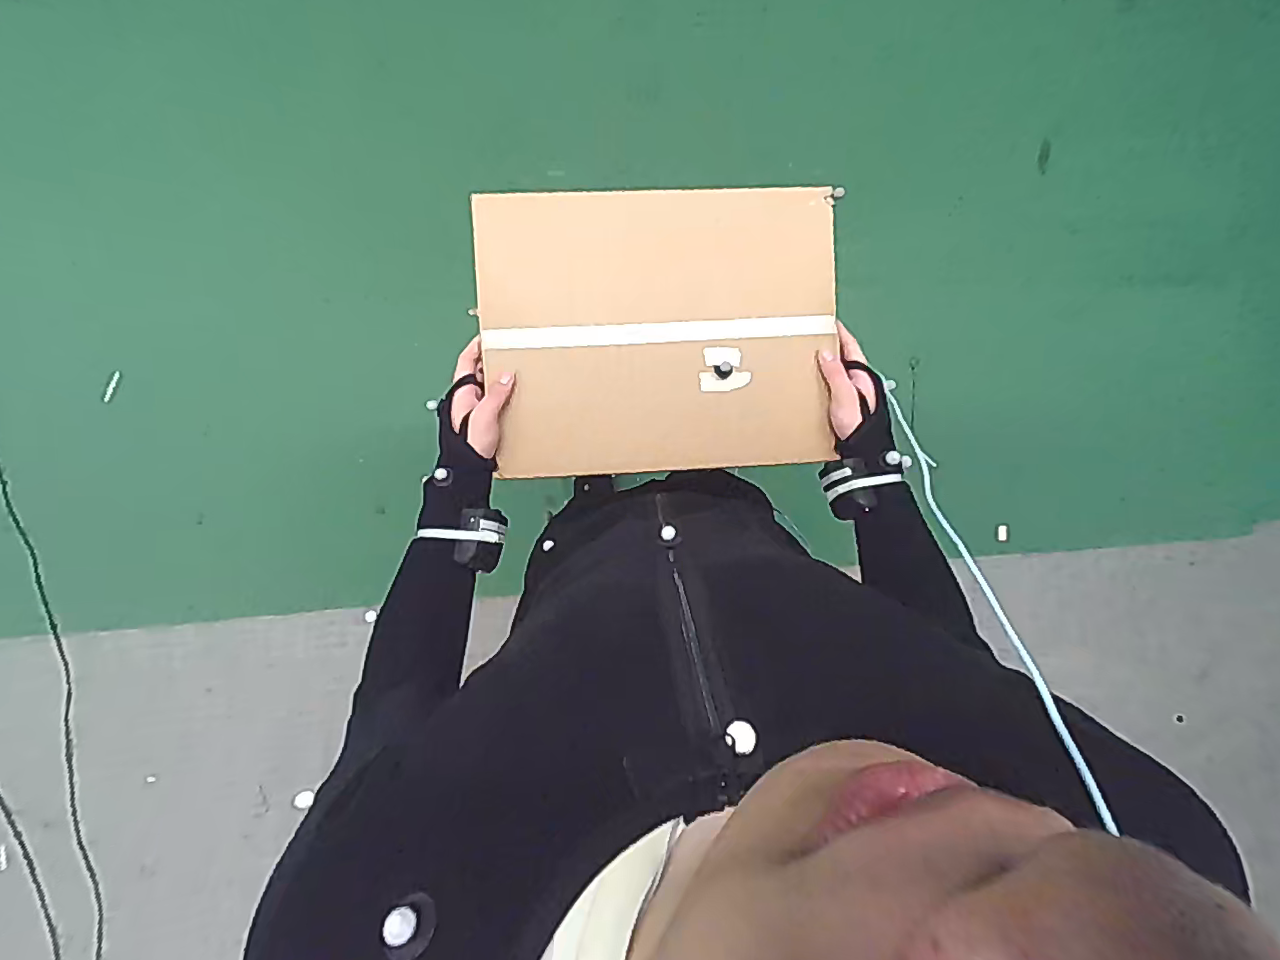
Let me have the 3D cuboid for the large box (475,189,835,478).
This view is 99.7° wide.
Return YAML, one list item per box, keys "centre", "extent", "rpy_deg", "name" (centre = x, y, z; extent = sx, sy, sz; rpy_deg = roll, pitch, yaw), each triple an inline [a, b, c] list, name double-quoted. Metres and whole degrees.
- centre: [0.011, -0.176, 0.770]
  extent: [0.408, 0.320, 0.320]
  rpy_deg: [-4, 93, -4]
  name: "large box"
